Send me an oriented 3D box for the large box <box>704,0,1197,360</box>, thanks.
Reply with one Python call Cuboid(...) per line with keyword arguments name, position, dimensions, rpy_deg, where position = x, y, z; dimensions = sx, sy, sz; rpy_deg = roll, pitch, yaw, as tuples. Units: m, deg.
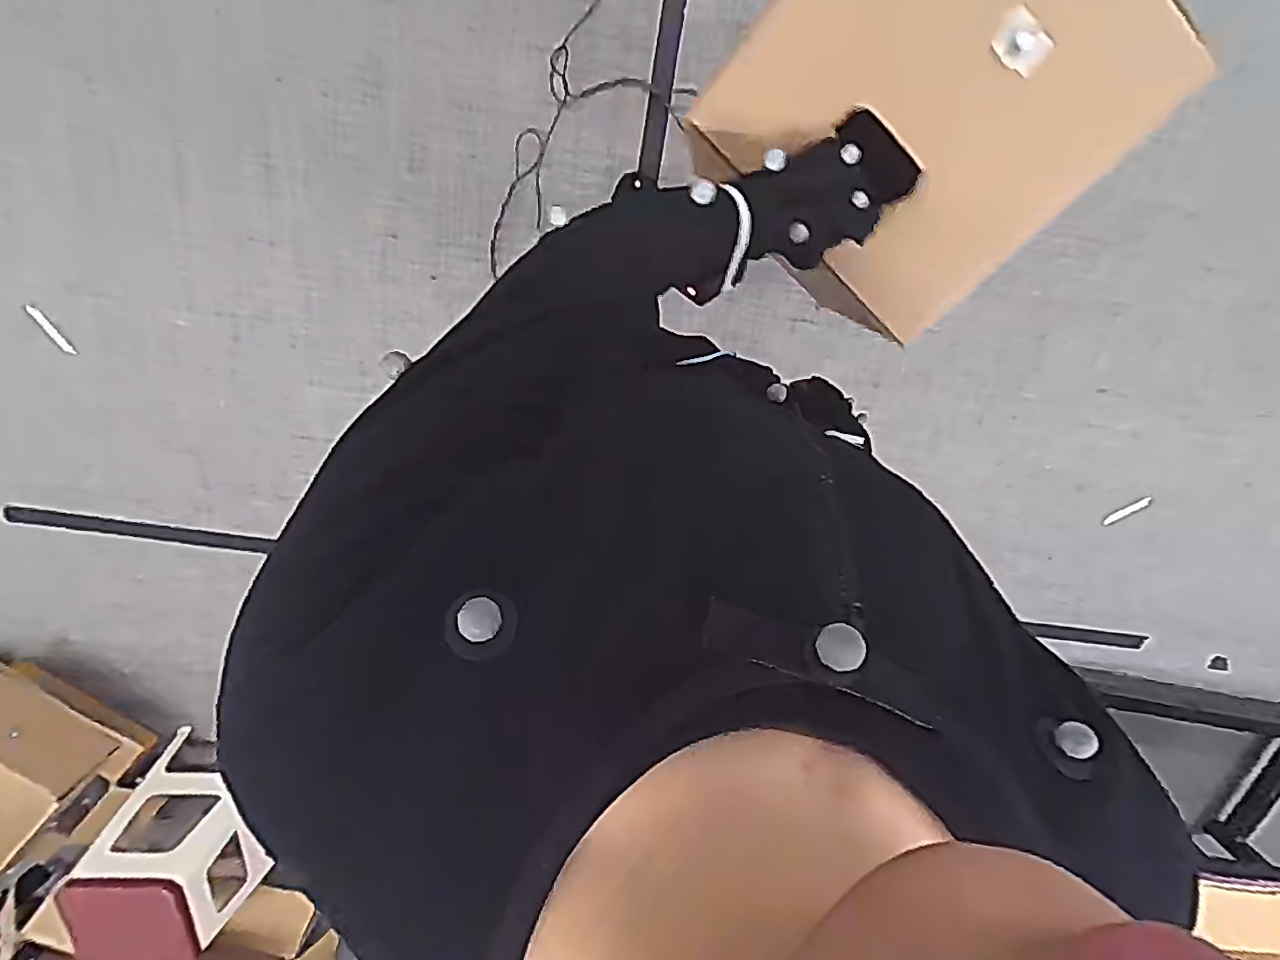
Cuboid(name="large box", position=(0.301, -0.394, 0.663), dimensions=(0.320, 0.408, 0.320), rpy_deg=(-41, 102, 22))
